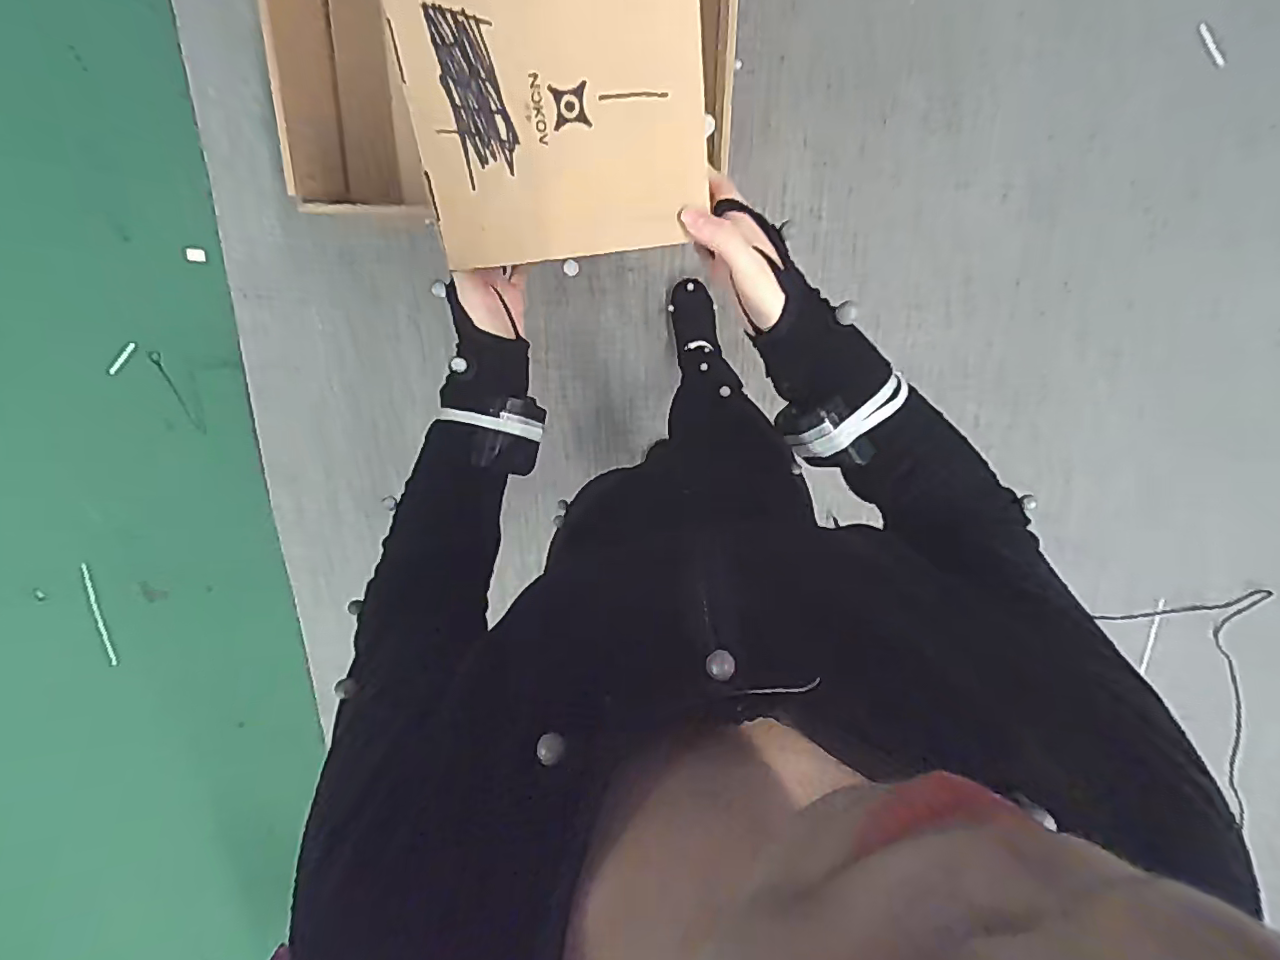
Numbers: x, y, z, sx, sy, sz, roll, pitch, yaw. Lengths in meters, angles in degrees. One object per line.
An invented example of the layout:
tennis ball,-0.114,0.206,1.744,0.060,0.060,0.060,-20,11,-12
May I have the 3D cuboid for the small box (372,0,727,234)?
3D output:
small box,-0.044,-0.266,0.355,0.179,0.176,0.168,-8,118,6
